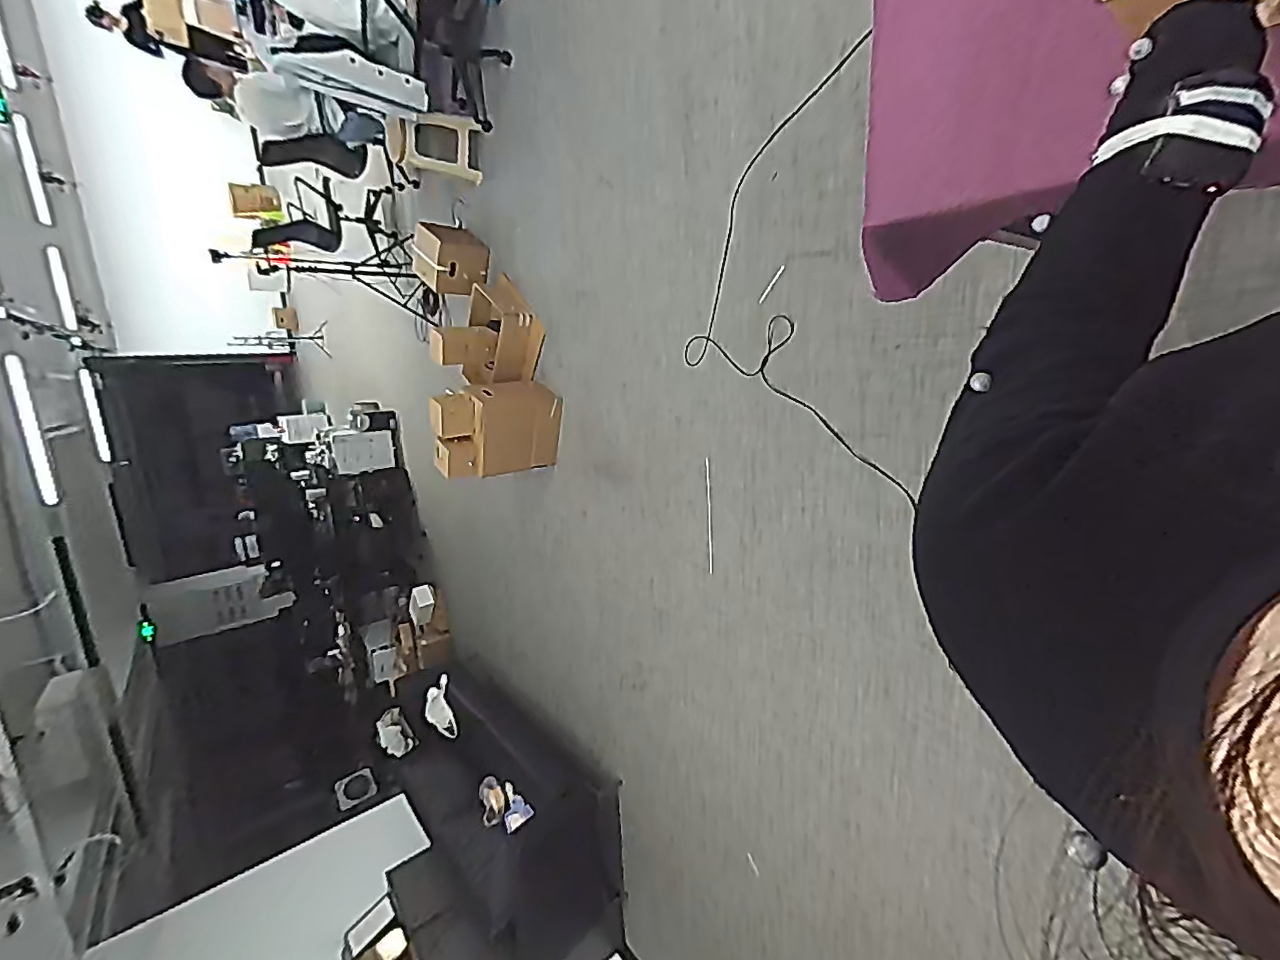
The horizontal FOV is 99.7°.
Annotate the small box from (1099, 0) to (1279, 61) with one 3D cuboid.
[{"bbox_3d":[0.513,-0.494,0.442,0.168,0.176,0.179,18,114,48],"label":"small box"}]
